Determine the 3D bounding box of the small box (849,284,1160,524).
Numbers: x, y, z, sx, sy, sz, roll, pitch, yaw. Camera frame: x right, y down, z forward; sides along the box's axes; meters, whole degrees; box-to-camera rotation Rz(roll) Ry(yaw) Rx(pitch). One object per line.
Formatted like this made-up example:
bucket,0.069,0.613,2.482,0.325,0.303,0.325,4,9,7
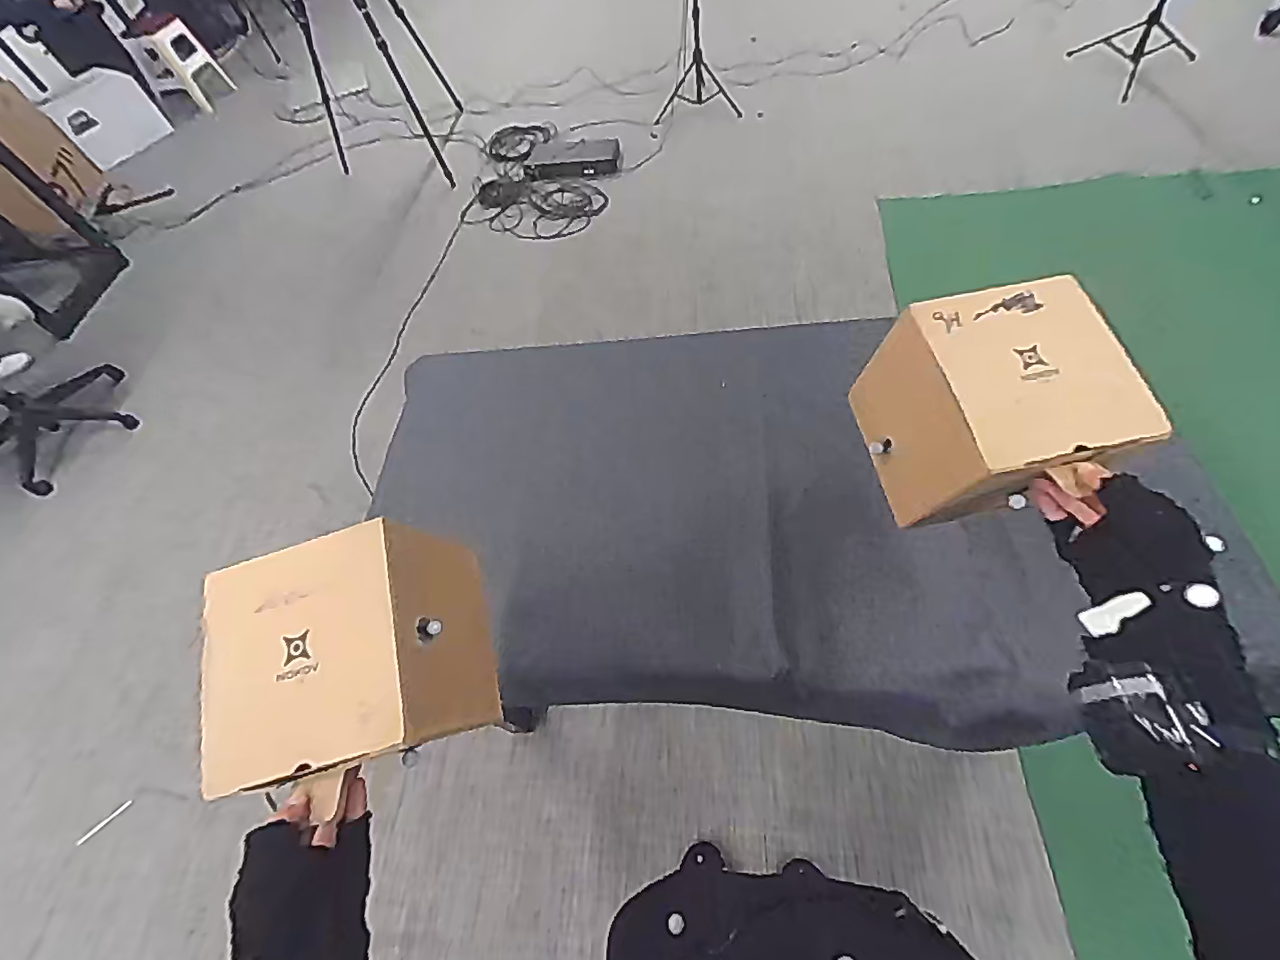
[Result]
small box,0.342,-0.063,0.552,0.168,0.176,0.179,-11,68,-4

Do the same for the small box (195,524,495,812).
small box,-0.247,0.160,0.483,0.168,0.176,0.179,-18,69,4
